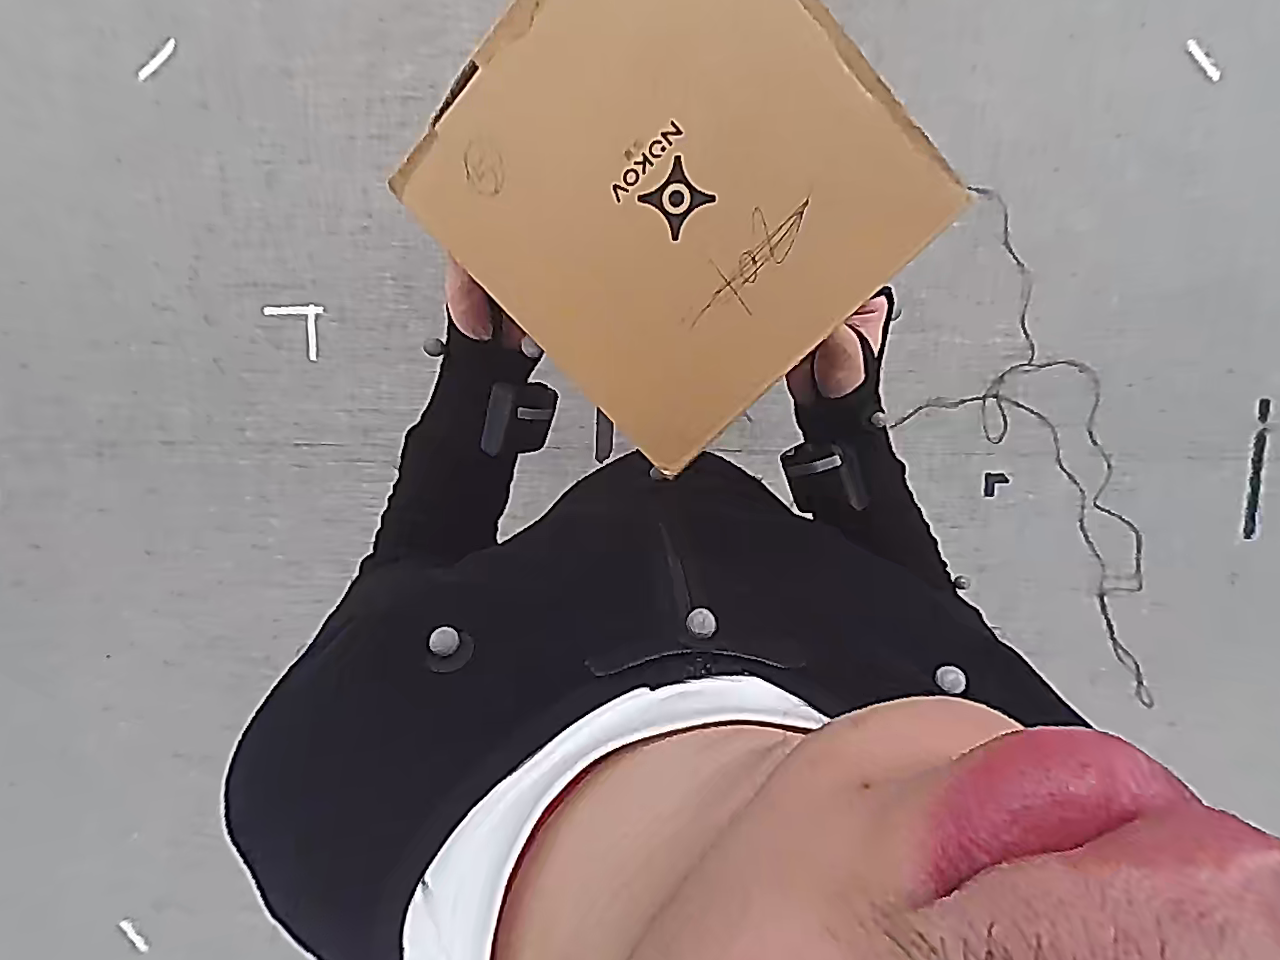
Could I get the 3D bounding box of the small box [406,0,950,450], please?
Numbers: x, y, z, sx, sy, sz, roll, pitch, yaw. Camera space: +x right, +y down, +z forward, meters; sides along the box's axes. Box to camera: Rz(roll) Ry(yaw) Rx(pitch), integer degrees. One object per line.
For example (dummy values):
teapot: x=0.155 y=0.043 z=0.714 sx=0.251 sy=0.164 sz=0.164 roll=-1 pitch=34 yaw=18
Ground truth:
small box: x=0.017 y=-0.144 z=0.307 sx=0.179 sy=0.176 sz=0.168 roll=44 pitch=103 yaw=-8
